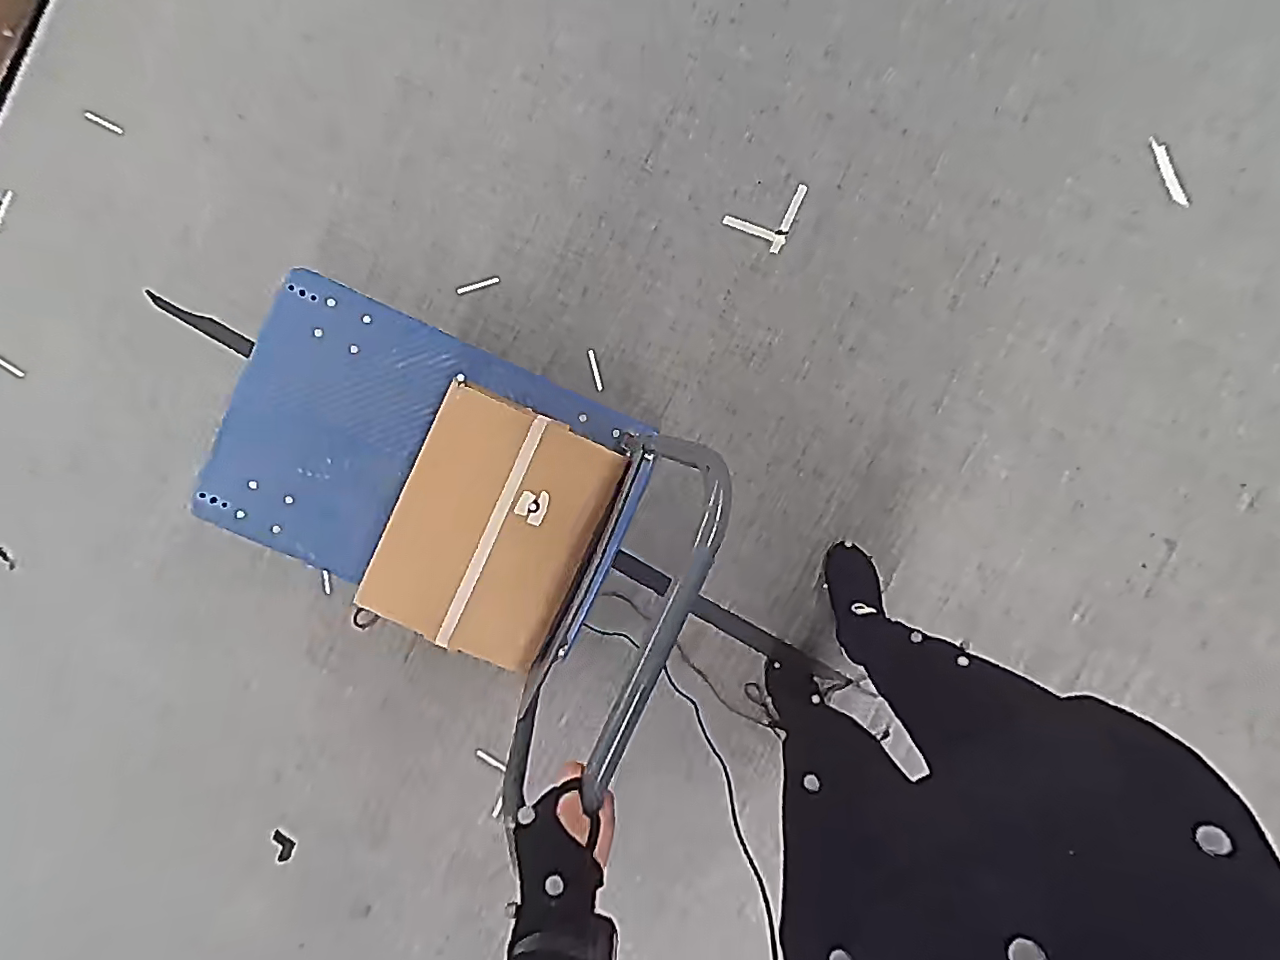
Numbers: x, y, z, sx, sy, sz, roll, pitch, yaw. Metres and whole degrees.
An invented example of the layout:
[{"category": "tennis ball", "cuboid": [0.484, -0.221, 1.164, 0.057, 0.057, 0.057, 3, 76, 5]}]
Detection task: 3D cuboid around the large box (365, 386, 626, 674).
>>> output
[{"category": "large box", "cuboid": [-0.247, 0.082, 1.042, 0.320, 0.320, 0.408, 24, 91, -5]}]
